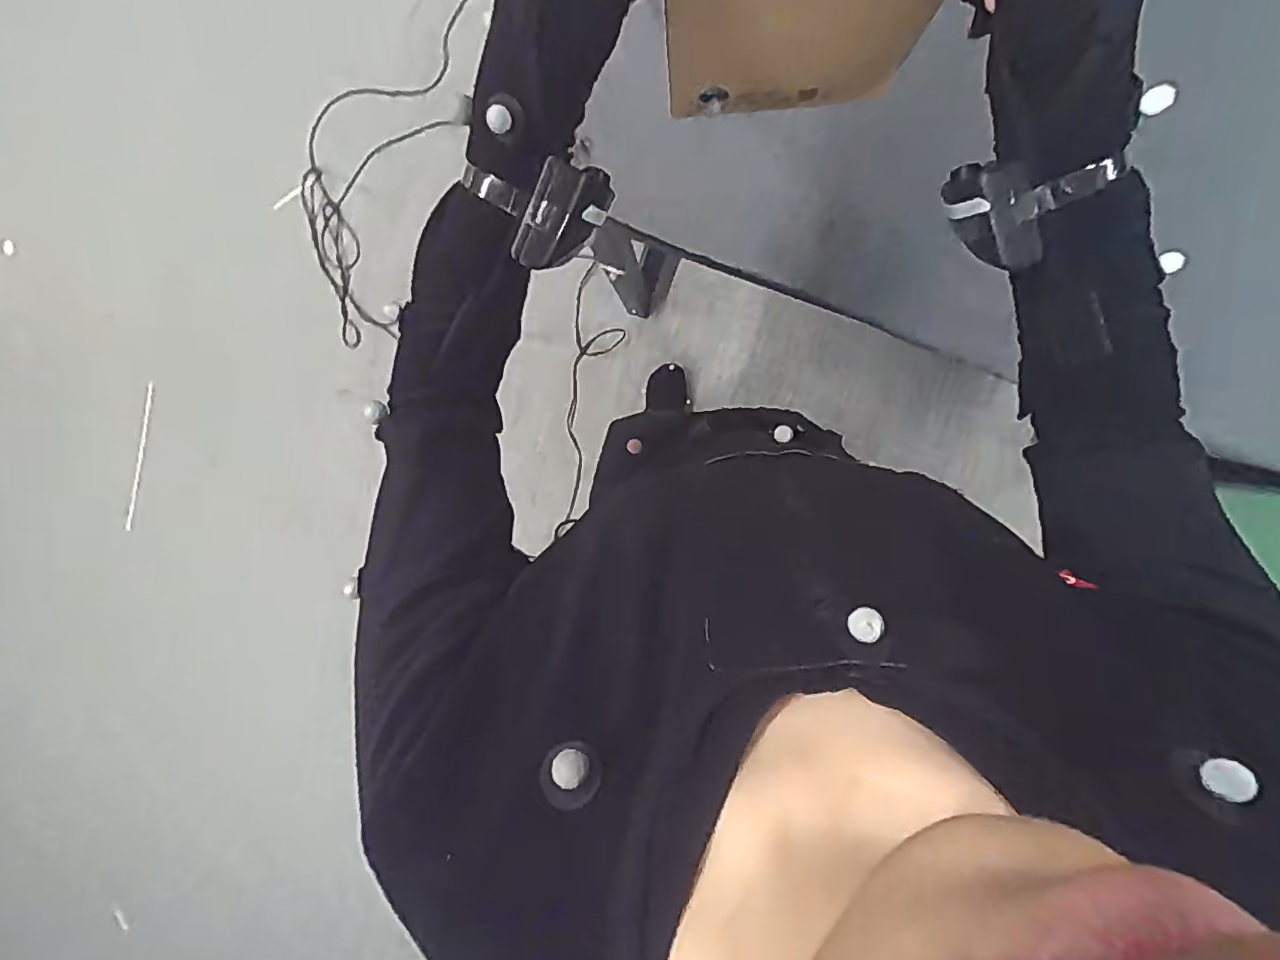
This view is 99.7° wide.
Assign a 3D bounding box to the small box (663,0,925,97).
[{"bbox_3d":[0.096,-0.371,0.336,0.168,0.176,0.179,-1,98,5],"label":"small box"}]
